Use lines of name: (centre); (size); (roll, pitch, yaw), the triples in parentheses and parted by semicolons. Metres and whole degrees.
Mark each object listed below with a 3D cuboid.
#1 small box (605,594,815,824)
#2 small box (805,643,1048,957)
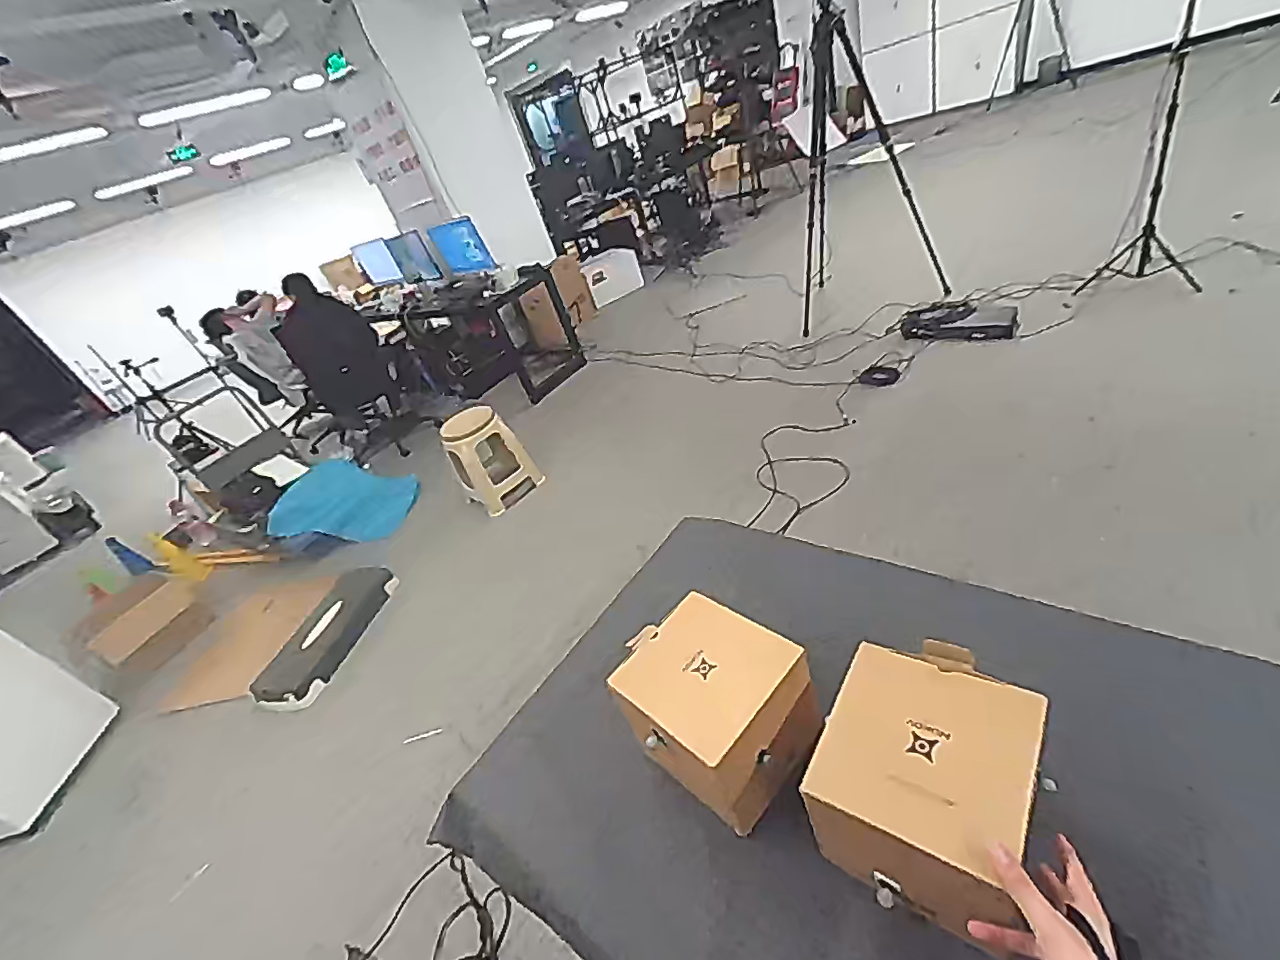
small box: (0.094, 0.279, 0.662); (0.168, 0.176, 0.179); (-40, 37, -27)
small box: (0.280, 0.300, 0.528); (0.168, 0.176, 0.179); (8, 43, 38)
